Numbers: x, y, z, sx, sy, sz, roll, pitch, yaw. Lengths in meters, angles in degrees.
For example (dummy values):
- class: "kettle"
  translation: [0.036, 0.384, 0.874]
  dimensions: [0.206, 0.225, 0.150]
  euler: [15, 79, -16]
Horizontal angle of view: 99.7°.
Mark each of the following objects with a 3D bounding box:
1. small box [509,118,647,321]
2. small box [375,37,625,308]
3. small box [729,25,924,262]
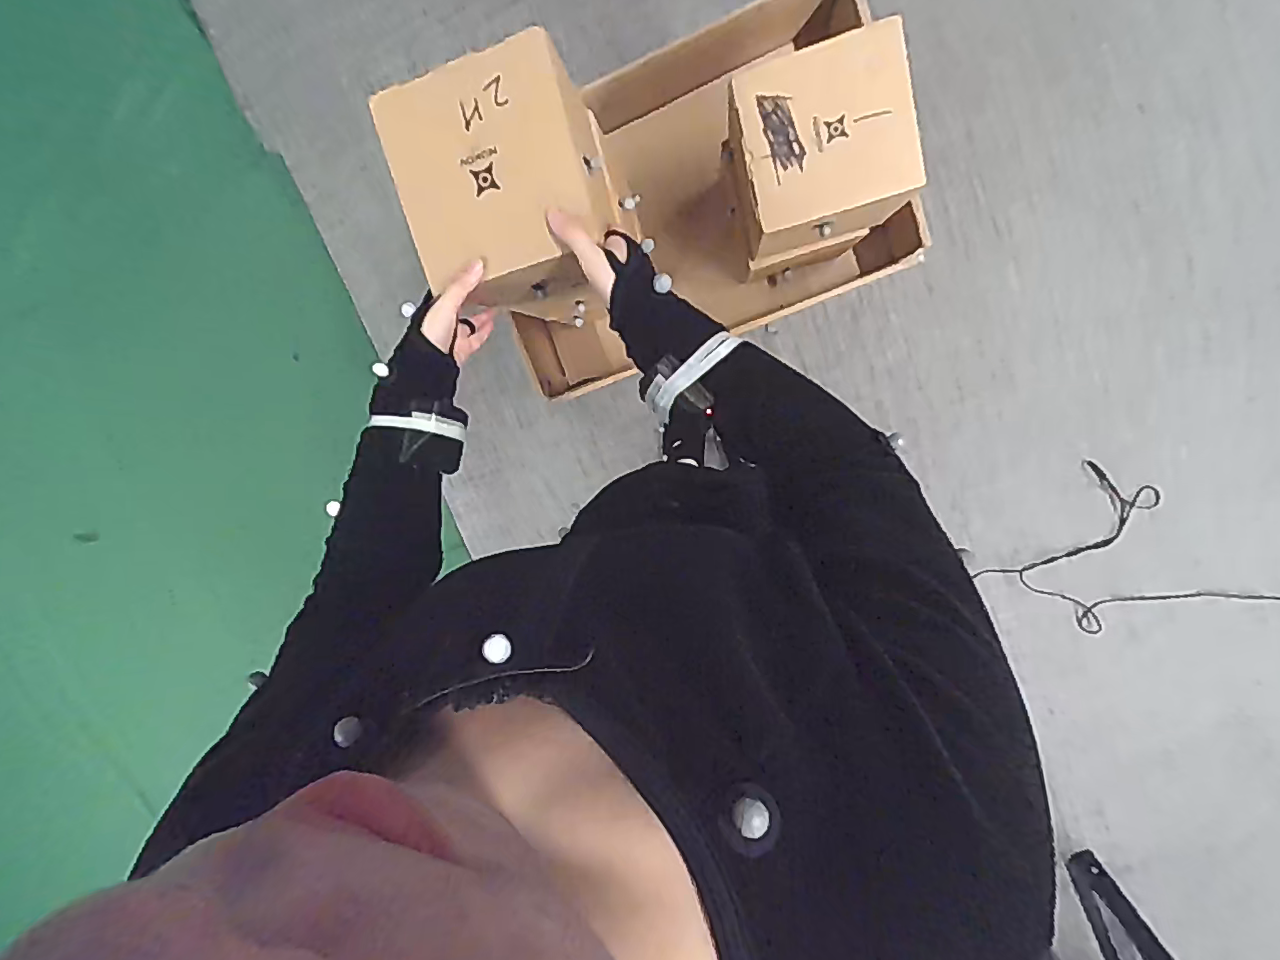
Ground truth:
- class: "small box"
  translation: [-0.096, -0.321, 0.707]
  dimensions: [0.168, 0.176, 0.179]
  euler: [-13, 100, 11]
- class: "small box"
  translation: [-0.122, -0.282, 0.549]
  dimensions: [0.168, 0.176, 0.179]
  euler: [-13, 100, 11]
- class: "small box"
  translation: [0.209, -0.377, 0.647]
  dimensions: [0.179, 0.176, 0.168]
  euler: [-13, 100, 11]
